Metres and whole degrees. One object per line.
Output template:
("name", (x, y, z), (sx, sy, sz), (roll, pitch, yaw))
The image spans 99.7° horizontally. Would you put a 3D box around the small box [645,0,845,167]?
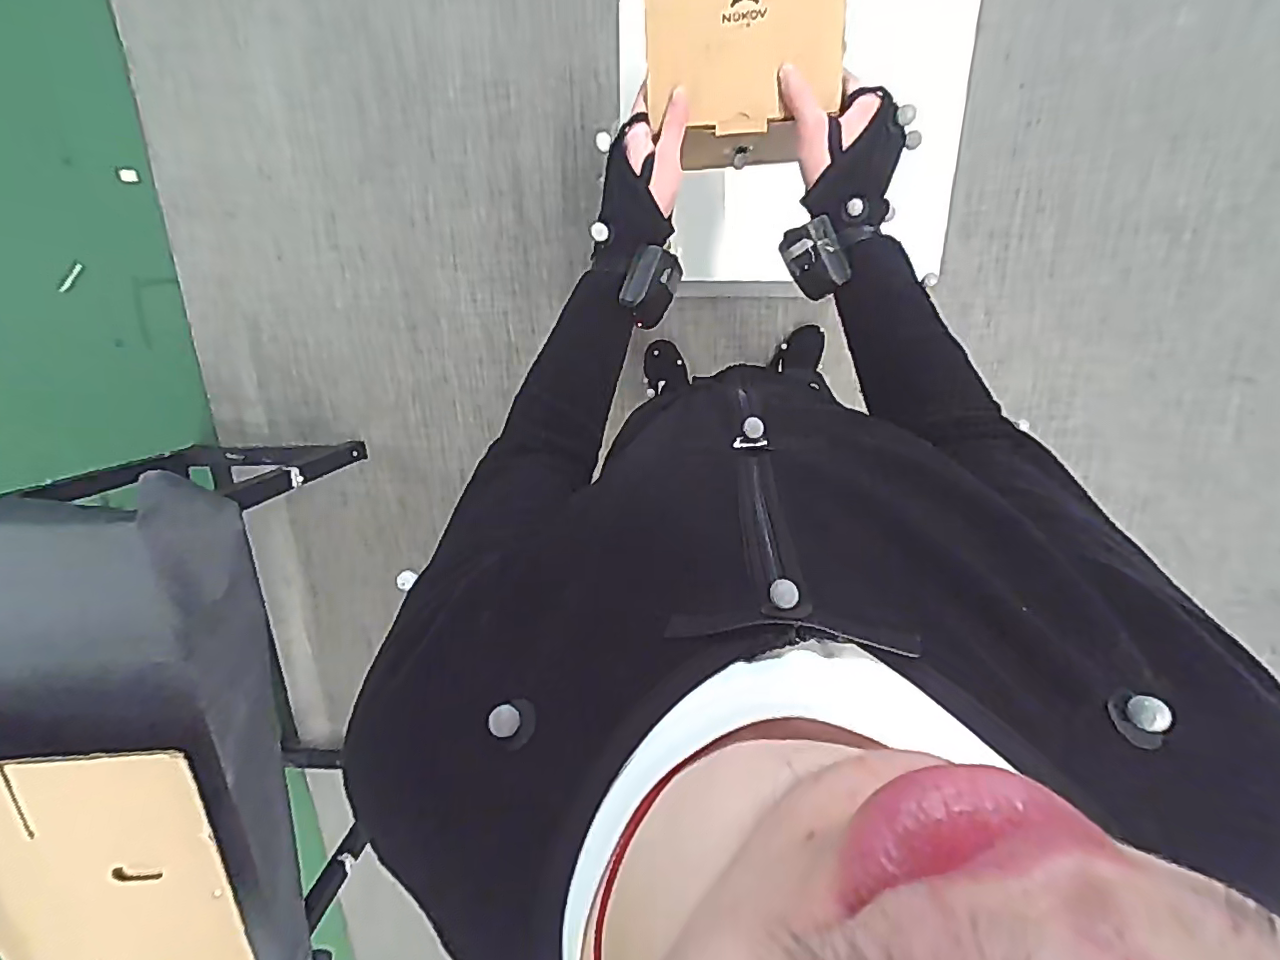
("small box", (0.100, -0.419, 0.523), (0.168, 0.176, 0.179), (-1, 108, 11))
